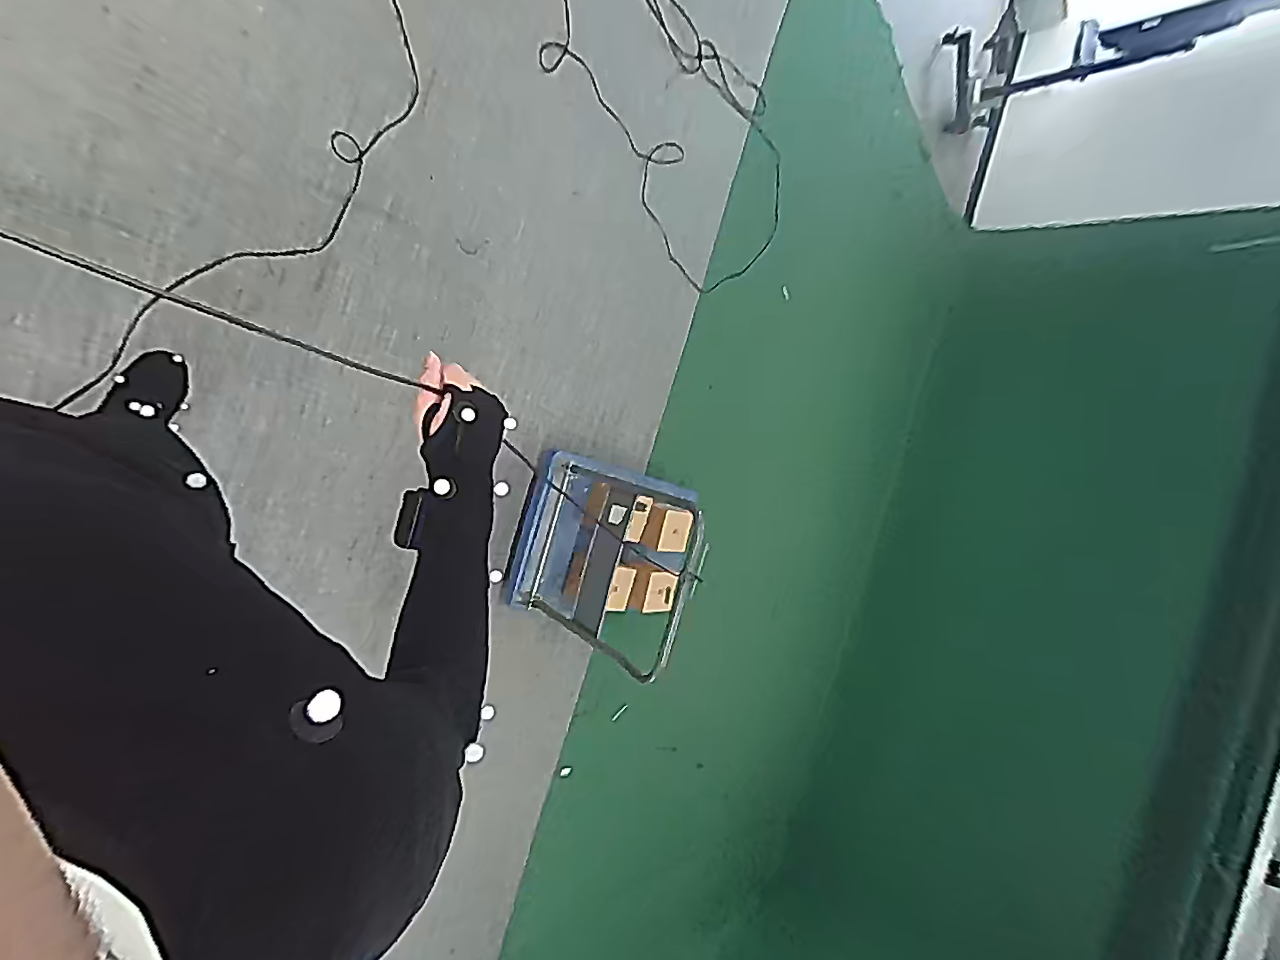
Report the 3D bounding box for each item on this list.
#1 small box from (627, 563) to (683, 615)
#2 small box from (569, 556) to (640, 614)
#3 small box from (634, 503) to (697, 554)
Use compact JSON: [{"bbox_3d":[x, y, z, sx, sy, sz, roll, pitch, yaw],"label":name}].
[{"bbox_3d":[0.044,0.441,2.212,0.179,0.176,0.168,11,92,-46],"label":"small box"},{"bbox_3d":[-0.133,0.389,2.015,0.179,0.176,0.168,18,88,-46],"label":"small box"},{"bbox_3d":[0.100,0.196,2.201,0.179,0.176,0.168,11,94,-47],"label":"small box"}]
